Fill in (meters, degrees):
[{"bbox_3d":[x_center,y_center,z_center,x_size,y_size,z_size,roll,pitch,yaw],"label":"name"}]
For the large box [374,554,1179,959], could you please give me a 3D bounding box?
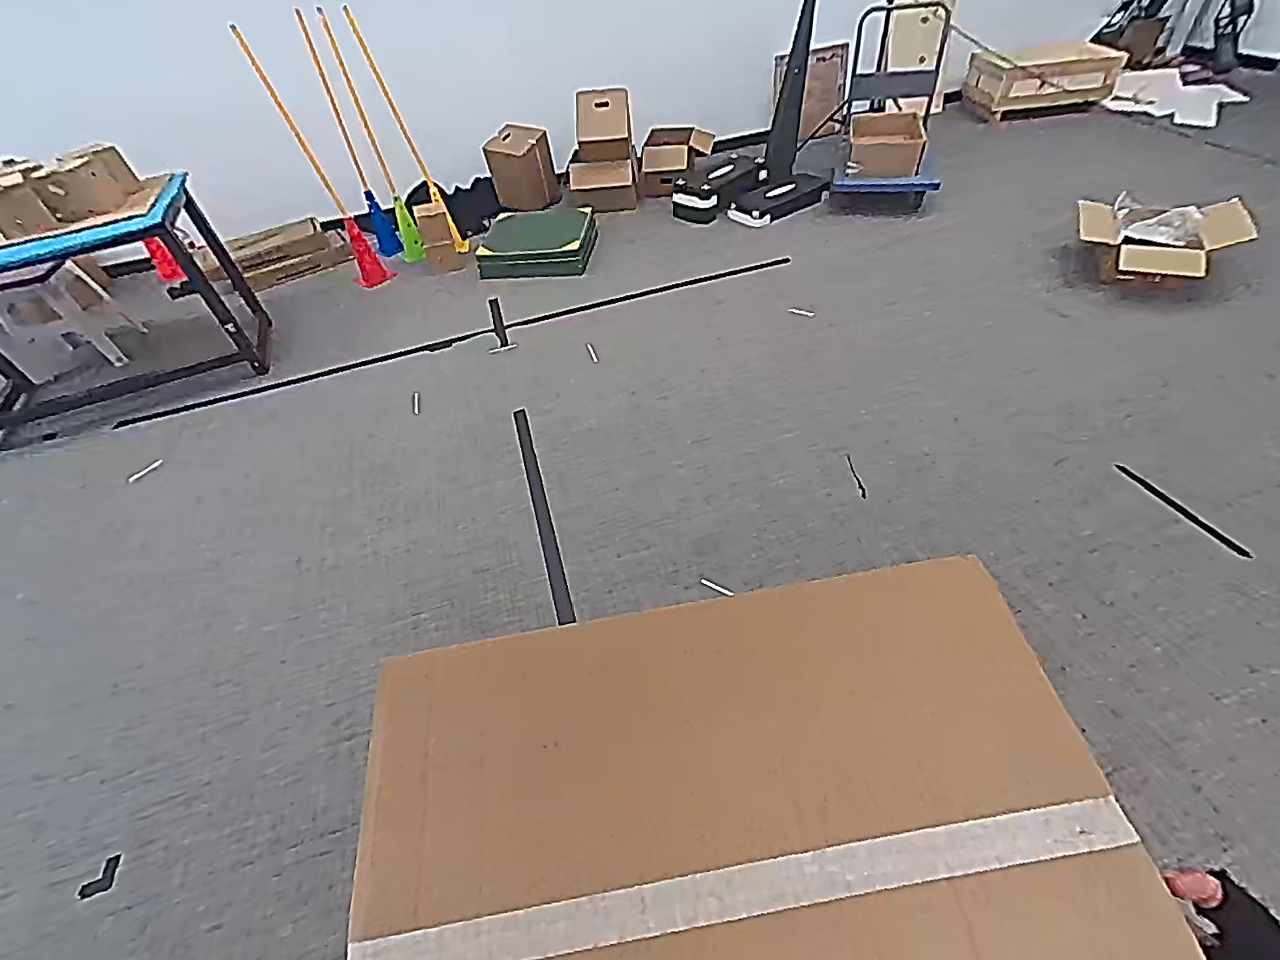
[{"bbox_3d":[0.064,0.295,0.414,0.408,0.320,0.320,-10,57,-1],"label":"large box"}]
